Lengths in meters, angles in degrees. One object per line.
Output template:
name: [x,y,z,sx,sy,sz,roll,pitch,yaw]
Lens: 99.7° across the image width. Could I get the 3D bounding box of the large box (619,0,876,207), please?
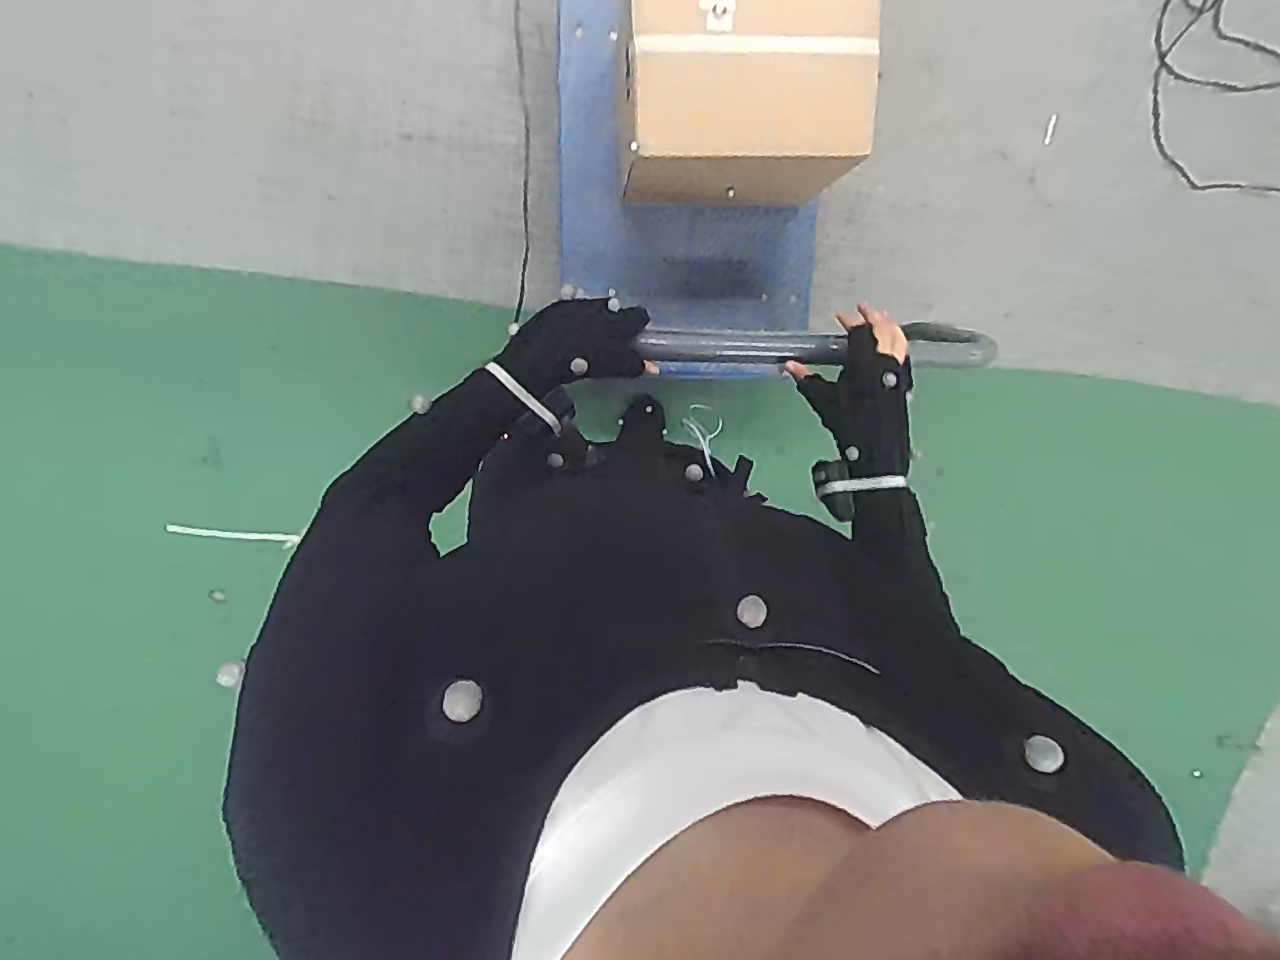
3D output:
large box: [0.174,-0.721,1.020,0.408,0.320,0.320,-3,102,-5]
